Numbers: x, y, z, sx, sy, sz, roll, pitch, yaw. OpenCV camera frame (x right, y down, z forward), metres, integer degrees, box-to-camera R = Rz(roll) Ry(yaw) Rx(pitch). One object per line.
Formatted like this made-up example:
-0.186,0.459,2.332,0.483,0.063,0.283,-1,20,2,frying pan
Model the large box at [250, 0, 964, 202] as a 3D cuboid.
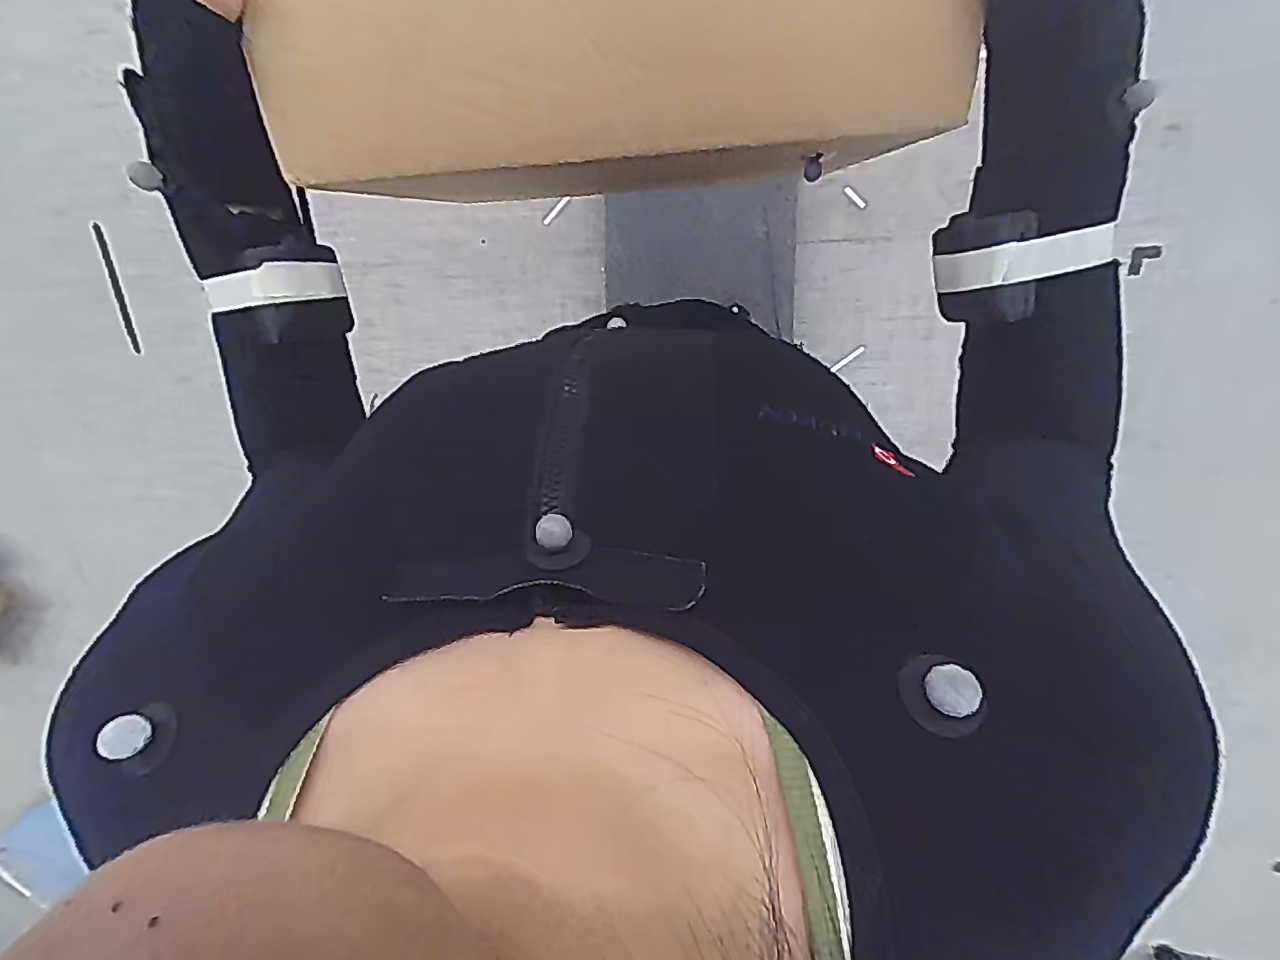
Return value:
-0.019,-0.399,0.403,0.408,0.320,0.320,-2,114,5,large box
